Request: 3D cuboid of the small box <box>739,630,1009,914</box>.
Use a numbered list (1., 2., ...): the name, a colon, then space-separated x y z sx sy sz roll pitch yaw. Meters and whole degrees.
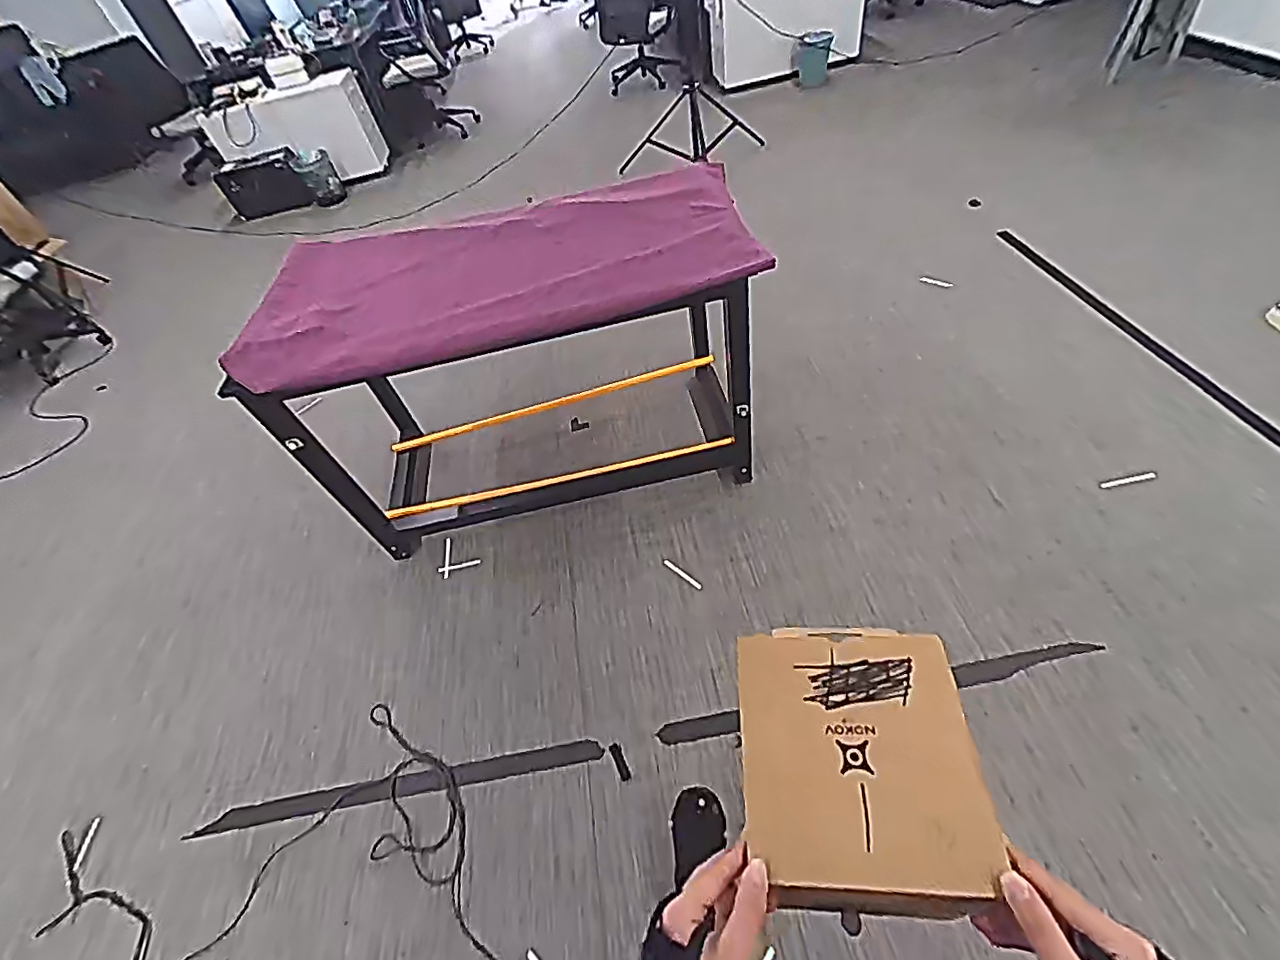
1. small box: 0.170 0.247 0.463 0.168 0.176 0.179 -3 48 10
